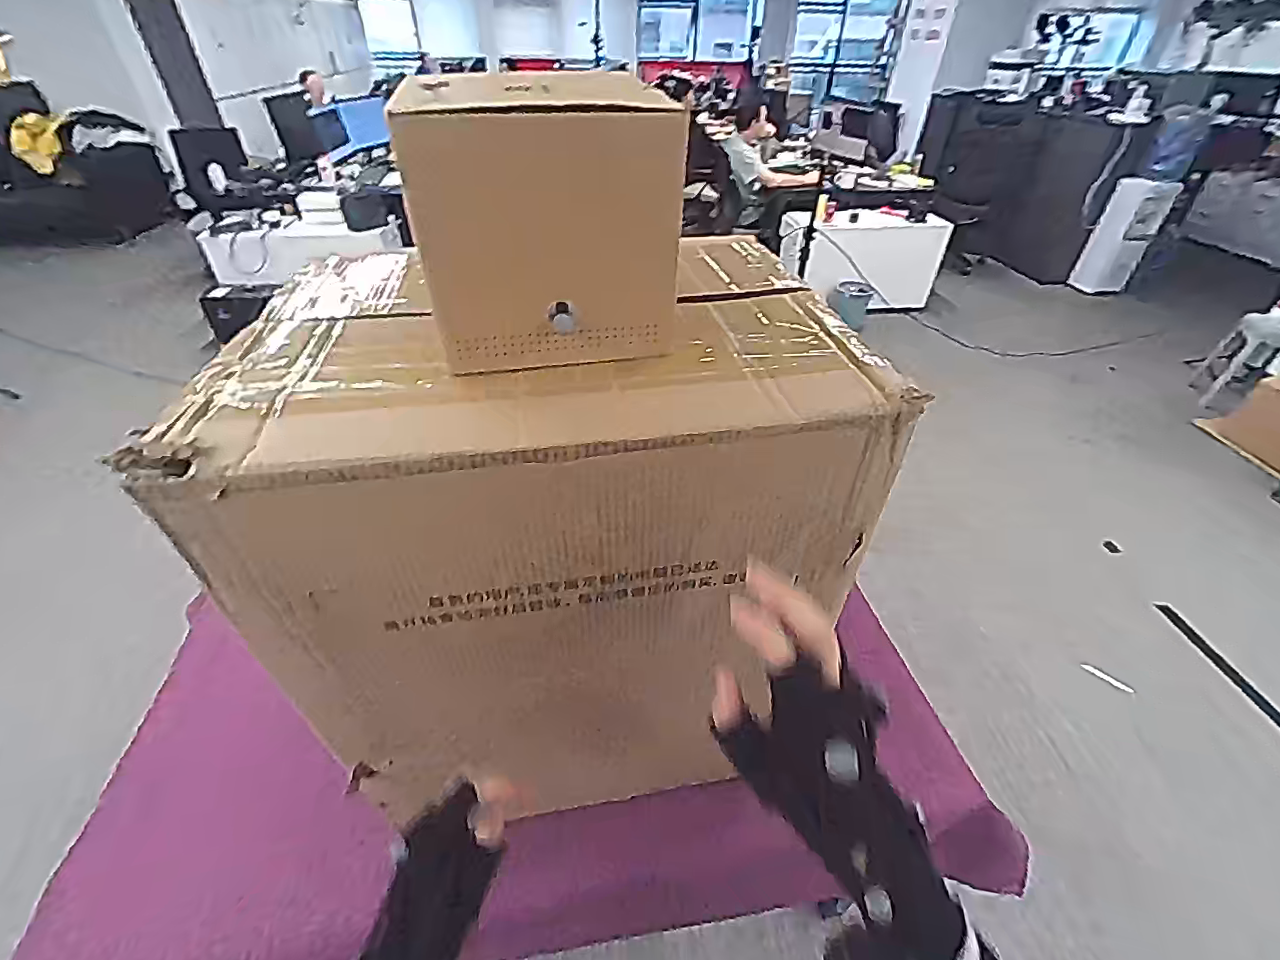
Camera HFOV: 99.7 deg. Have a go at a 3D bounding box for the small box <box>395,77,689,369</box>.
[{"bbox_3d":[-0.074,-0.203,0.428,0.179,0.176,0.168,-8,41,-11],"label":"small box"}]
